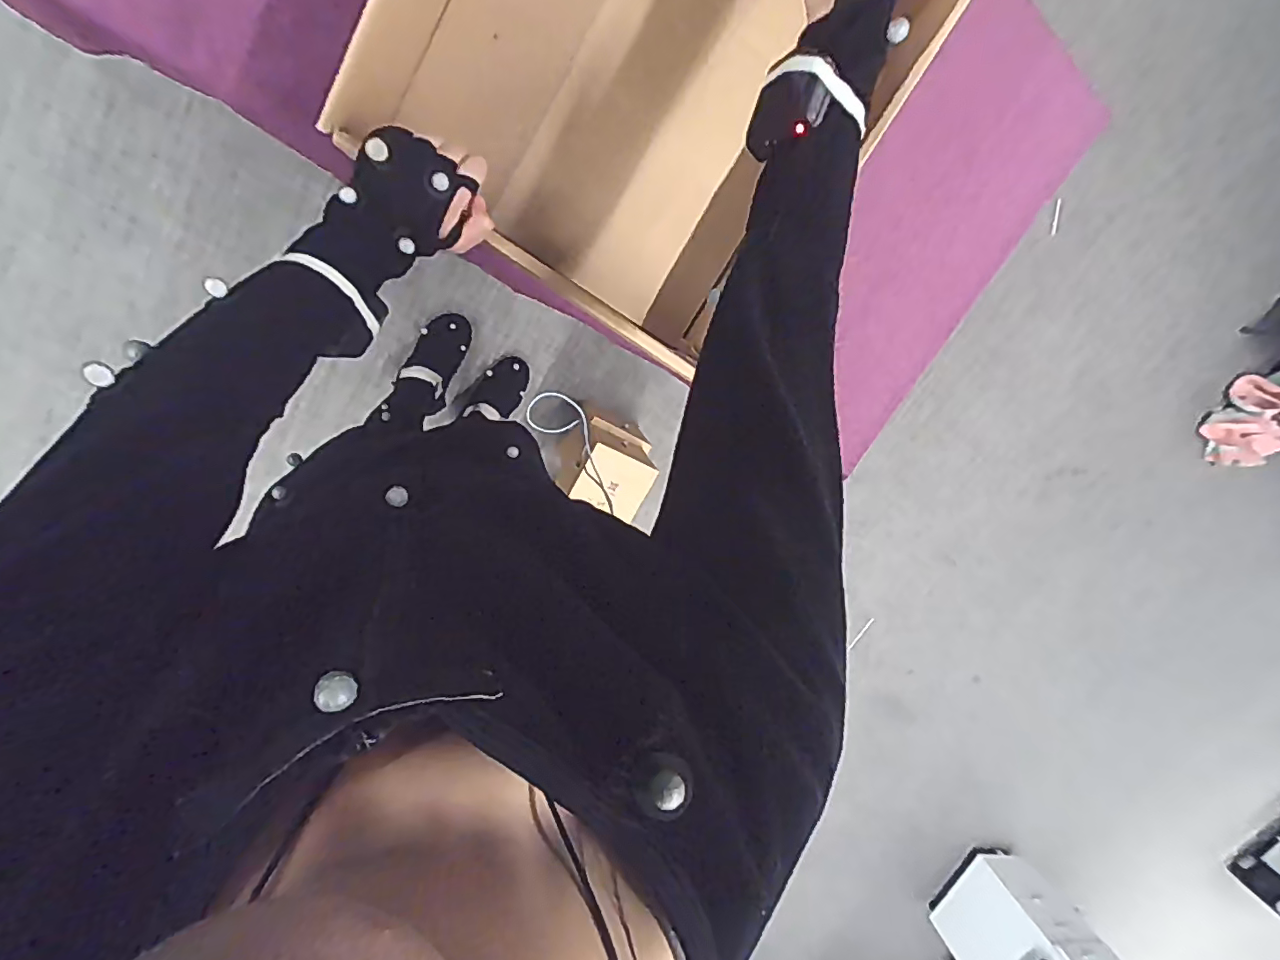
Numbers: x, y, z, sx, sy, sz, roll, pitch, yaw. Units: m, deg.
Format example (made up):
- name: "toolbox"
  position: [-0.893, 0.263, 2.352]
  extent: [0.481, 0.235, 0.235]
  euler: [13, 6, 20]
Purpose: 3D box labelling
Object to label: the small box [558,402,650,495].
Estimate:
- name: "small box"
  position: [-0.102, -0.090, 1.447]
  extent: [0.179, 0.176, 0.168]
  euler: [26, 104, -22]
